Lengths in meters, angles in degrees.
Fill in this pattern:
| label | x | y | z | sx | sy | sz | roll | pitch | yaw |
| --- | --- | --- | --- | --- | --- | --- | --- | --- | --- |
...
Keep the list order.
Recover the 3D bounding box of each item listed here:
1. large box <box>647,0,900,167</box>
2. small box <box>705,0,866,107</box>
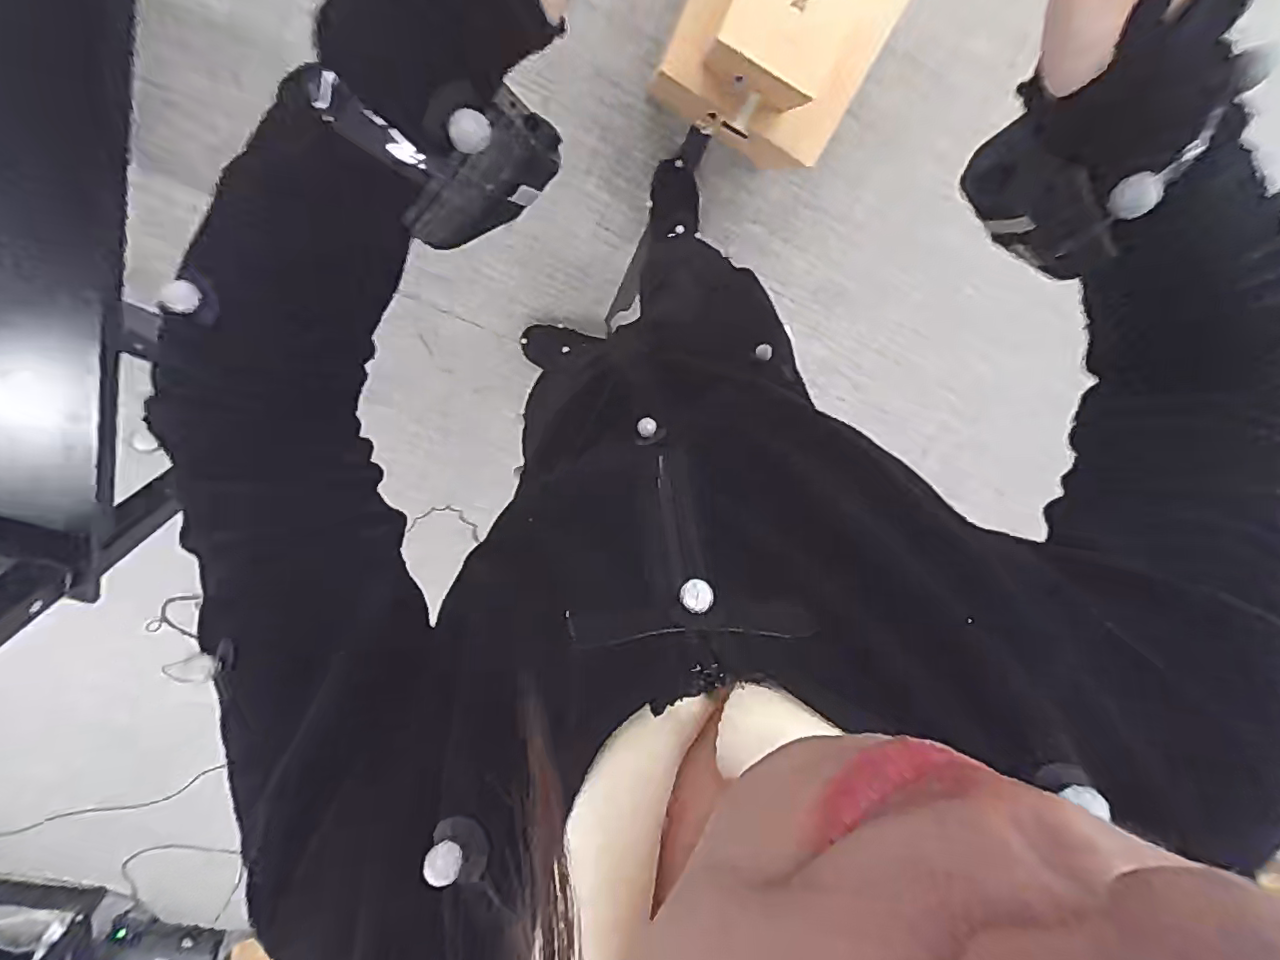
| label | x | y | z | sx | sy | sz | roll | pitch | yaw |
| --- | --- | --- | --- | --- | --- | --- | --- | --- | --- |
| large box | 0.241 | -0.842 | 0.967 | 0.320 | 0.320 | 0.408 | 22 | 115 | -17 |
| small box | 0.207 | -0.675 | 0.775 | 0.168 | 0.176 | 0.179 | 22 | 116 | -14 |
